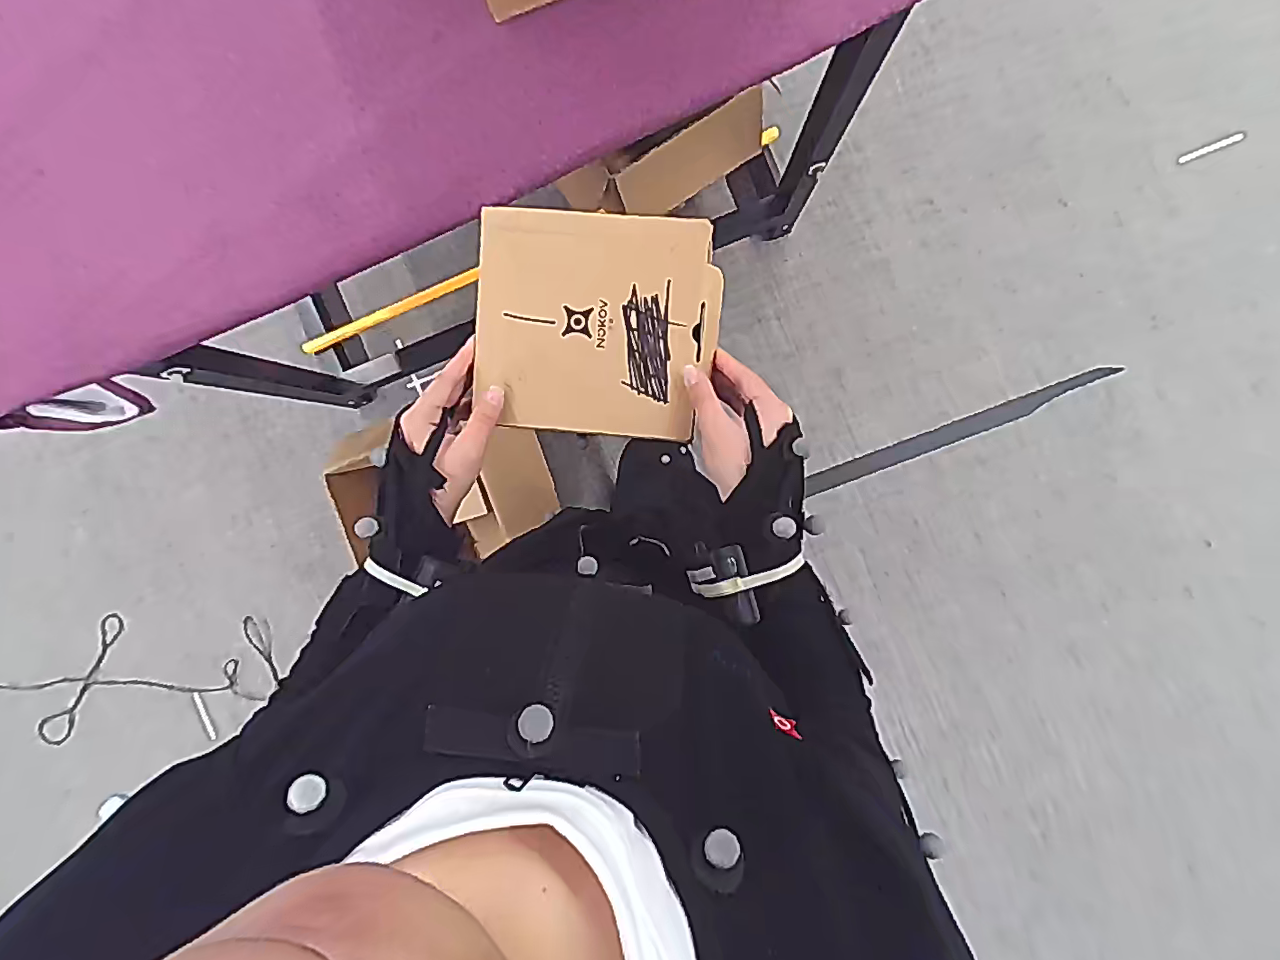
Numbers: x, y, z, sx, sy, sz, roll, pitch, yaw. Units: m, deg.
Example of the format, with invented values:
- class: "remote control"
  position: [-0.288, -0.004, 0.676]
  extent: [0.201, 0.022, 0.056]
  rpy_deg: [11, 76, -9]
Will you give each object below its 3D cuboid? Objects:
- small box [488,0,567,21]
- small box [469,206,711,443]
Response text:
- class: "small box"
  position: [-0.117, -0.624, 0.534]
  extent: [0.168, 0.176, 0.179]
  rpy_deg: [-18, 90, 3]
- class: "small box"
  position: [-0.037, -0.125, 0.490]
  extent: [0.179, 0.176, 0.168]
  rpy_deg: [5, 95, 2]
